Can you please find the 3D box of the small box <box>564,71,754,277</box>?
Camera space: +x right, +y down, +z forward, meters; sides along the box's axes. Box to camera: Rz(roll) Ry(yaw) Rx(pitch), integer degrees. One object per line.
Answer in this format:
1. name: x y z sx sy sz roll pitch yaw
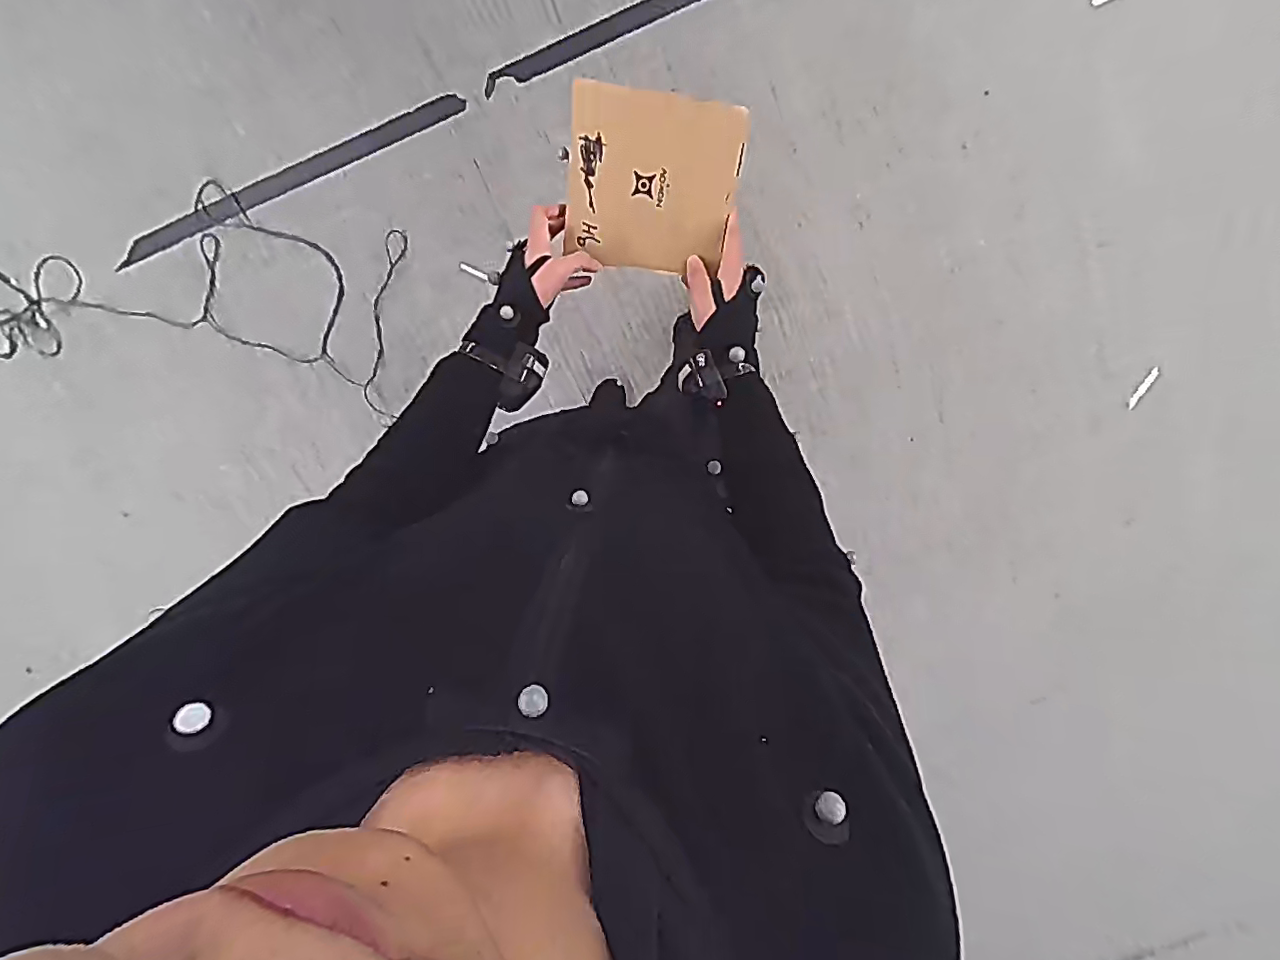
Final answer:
1. small box: 0.010 -0.345 0.622 0.179 0.176 0.168 5 120 -6
